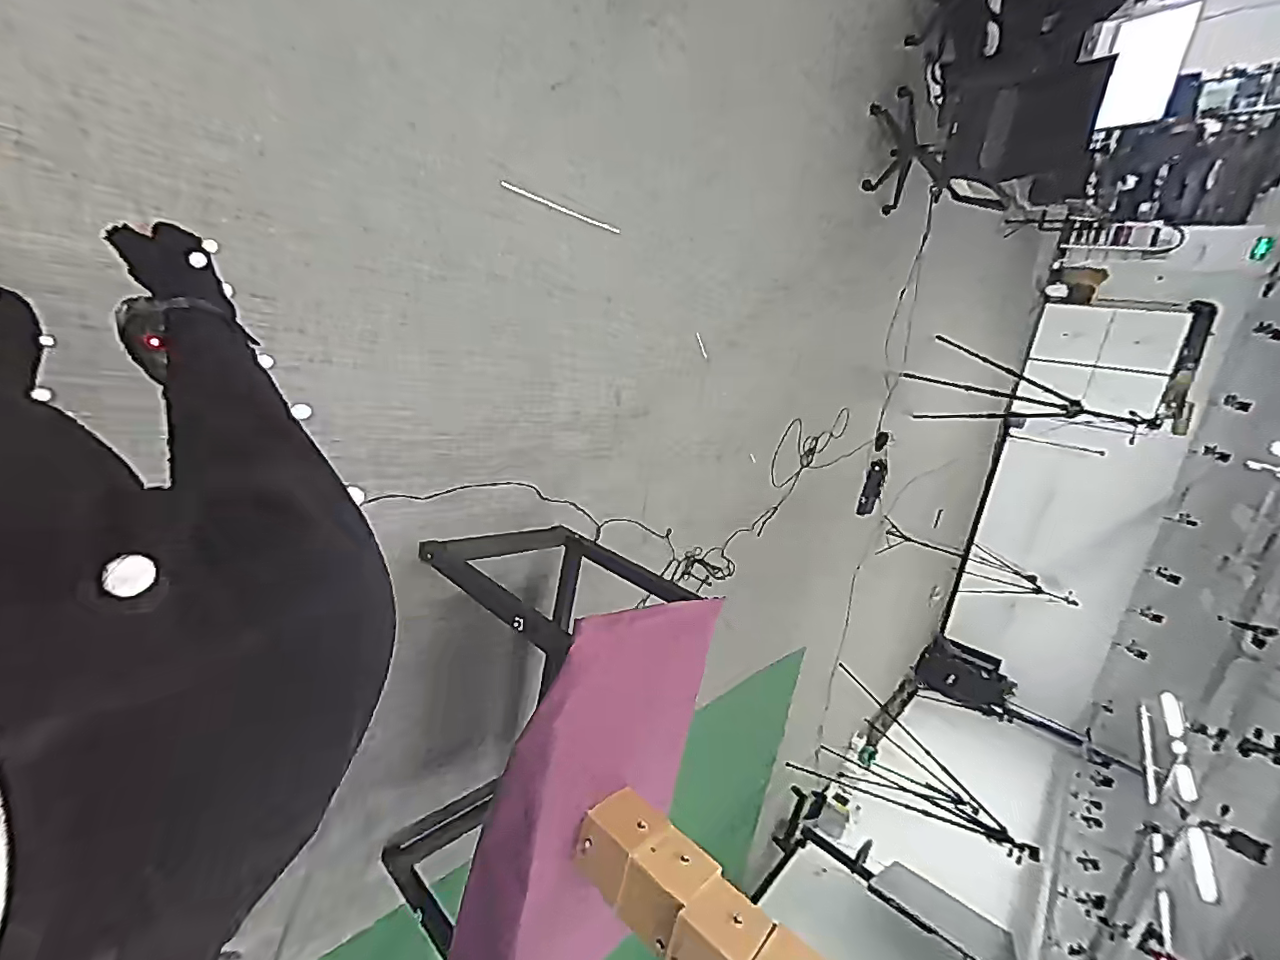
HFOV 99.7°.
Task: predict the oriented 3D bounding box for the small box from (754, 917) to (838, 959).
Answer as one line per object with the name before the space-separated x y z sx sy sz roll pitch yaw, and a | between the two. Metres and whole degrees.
small box | 0.318 1.093 1.137 0.179 0.176 0.168 -1 107 -51

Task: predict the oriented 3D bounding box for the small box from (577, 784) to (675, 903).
small box | -0.038 0.957 1.446 0.179 0.176 0.168 4 102 -50

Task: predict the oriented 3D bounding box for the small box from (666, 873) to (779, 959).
small box | 0.186 1.051 1.228 0.179 0.176 0.168 5 101 -52

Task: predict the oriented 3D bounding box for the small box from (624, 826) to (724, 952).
small box | 0.081 1.007 1.348 0.168 0.176 0.179 2 104 -50
